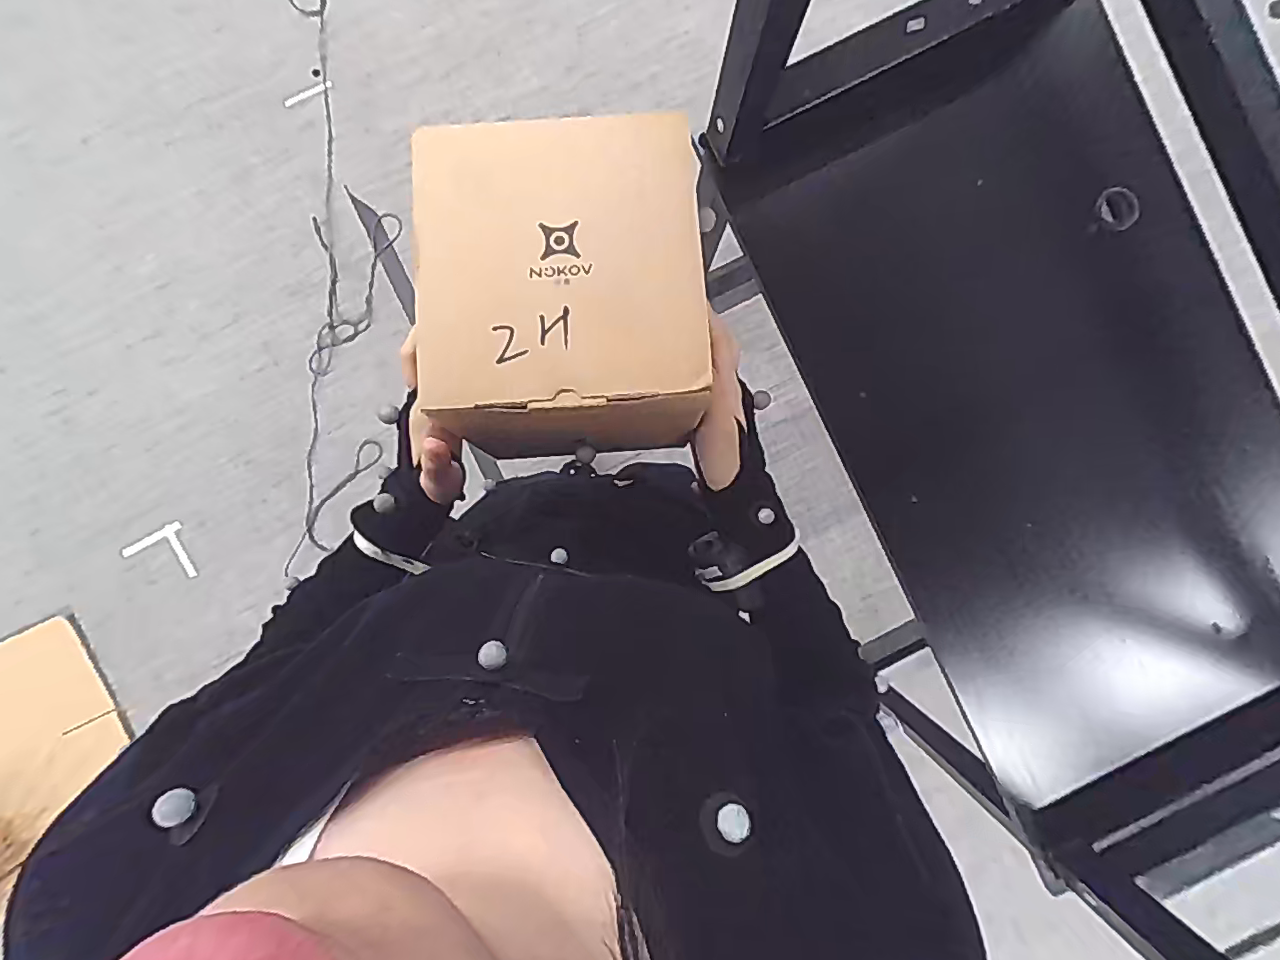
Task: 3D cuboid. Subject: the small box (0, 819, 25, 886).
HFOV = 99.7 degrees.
[{"bbox_3d":[-1.755,1.018,1.382,0.179,0.176,0.168,-33,92,-1],"label":"small box"}]
